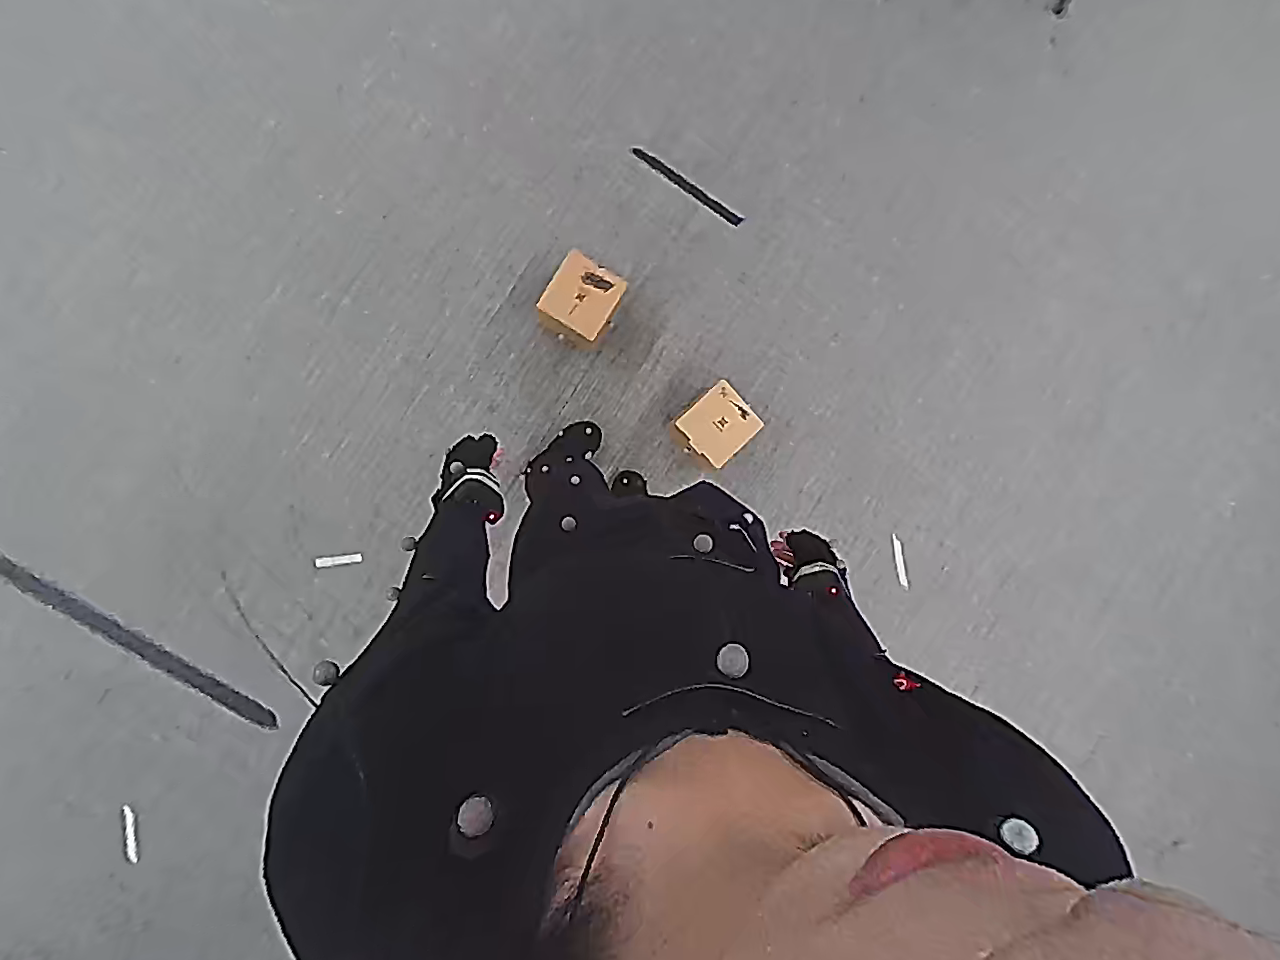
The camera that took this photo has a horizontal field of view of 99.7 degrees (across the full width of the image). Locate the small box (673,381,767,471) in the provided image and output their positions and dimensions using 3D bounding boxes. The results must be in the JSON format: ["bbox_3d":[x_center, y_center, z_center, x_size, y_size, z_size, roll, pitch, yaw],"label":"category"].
[{"bbox_3d":[0.205,-0.139,1.453,0.179,0.176,0.168,-40,95,-4],"label":"small box"}]

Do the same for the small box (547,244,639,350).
[{"bbox_3d":[-0.125,-0.468,1.409,0.168,0.176,0.179,34,88,-6],"label":"small box"}]
